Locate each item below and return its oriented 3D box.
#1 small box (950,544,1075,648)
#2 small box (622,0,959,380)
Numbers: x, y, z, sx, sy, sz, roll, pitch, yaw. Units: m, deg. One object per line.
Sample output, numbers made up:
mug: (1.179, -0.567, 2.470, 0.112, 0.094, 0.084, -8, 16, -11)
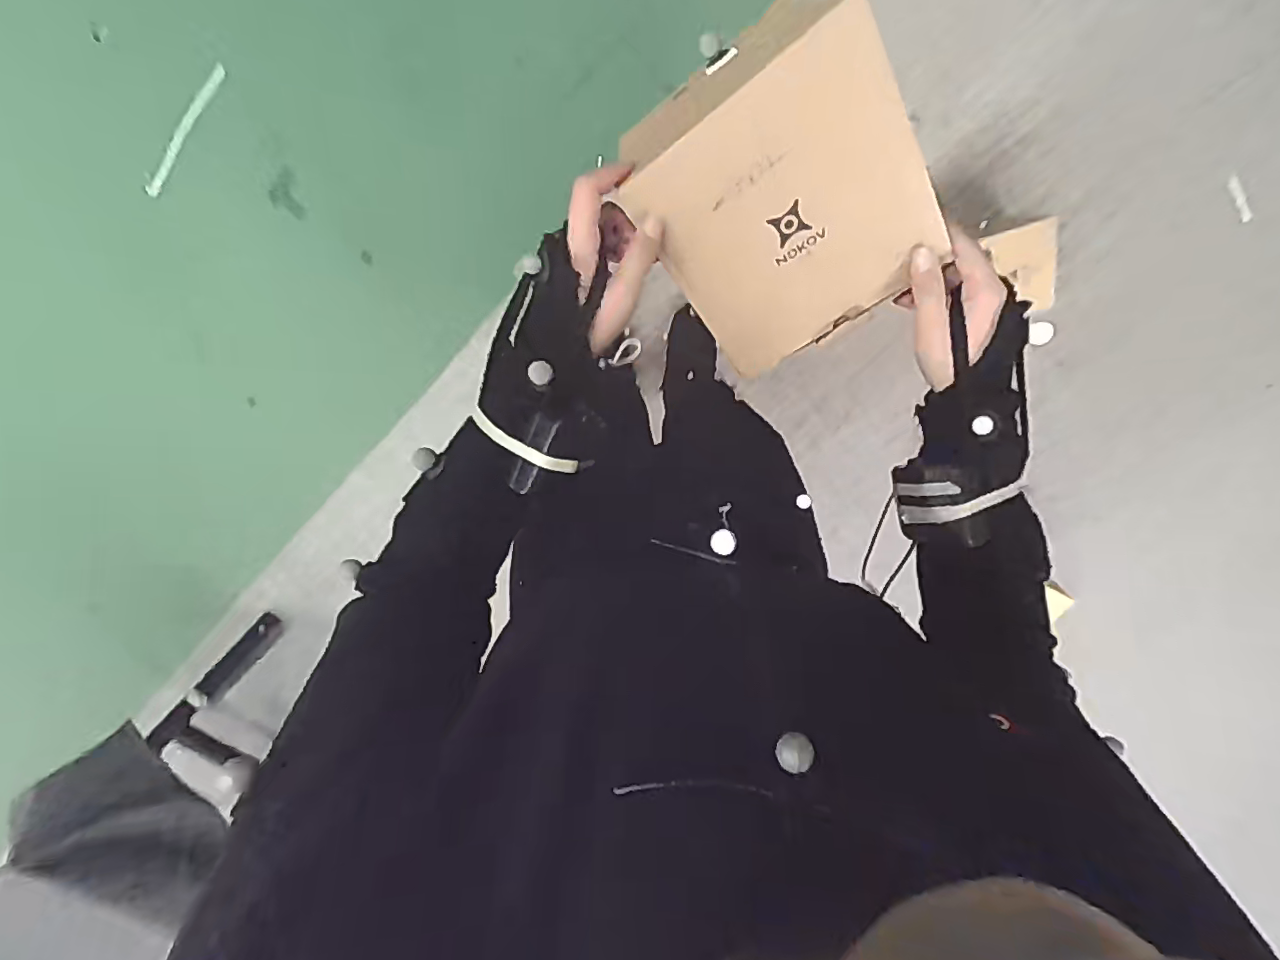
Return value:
small box: (0.965, 0.298, 1.422, 0.168, 0.176, 0.179, 25, 116, -10)
small box: (0.105, -0.218, 0.414, 0.168, 0.176, 0.179, -29, 126, 25)
